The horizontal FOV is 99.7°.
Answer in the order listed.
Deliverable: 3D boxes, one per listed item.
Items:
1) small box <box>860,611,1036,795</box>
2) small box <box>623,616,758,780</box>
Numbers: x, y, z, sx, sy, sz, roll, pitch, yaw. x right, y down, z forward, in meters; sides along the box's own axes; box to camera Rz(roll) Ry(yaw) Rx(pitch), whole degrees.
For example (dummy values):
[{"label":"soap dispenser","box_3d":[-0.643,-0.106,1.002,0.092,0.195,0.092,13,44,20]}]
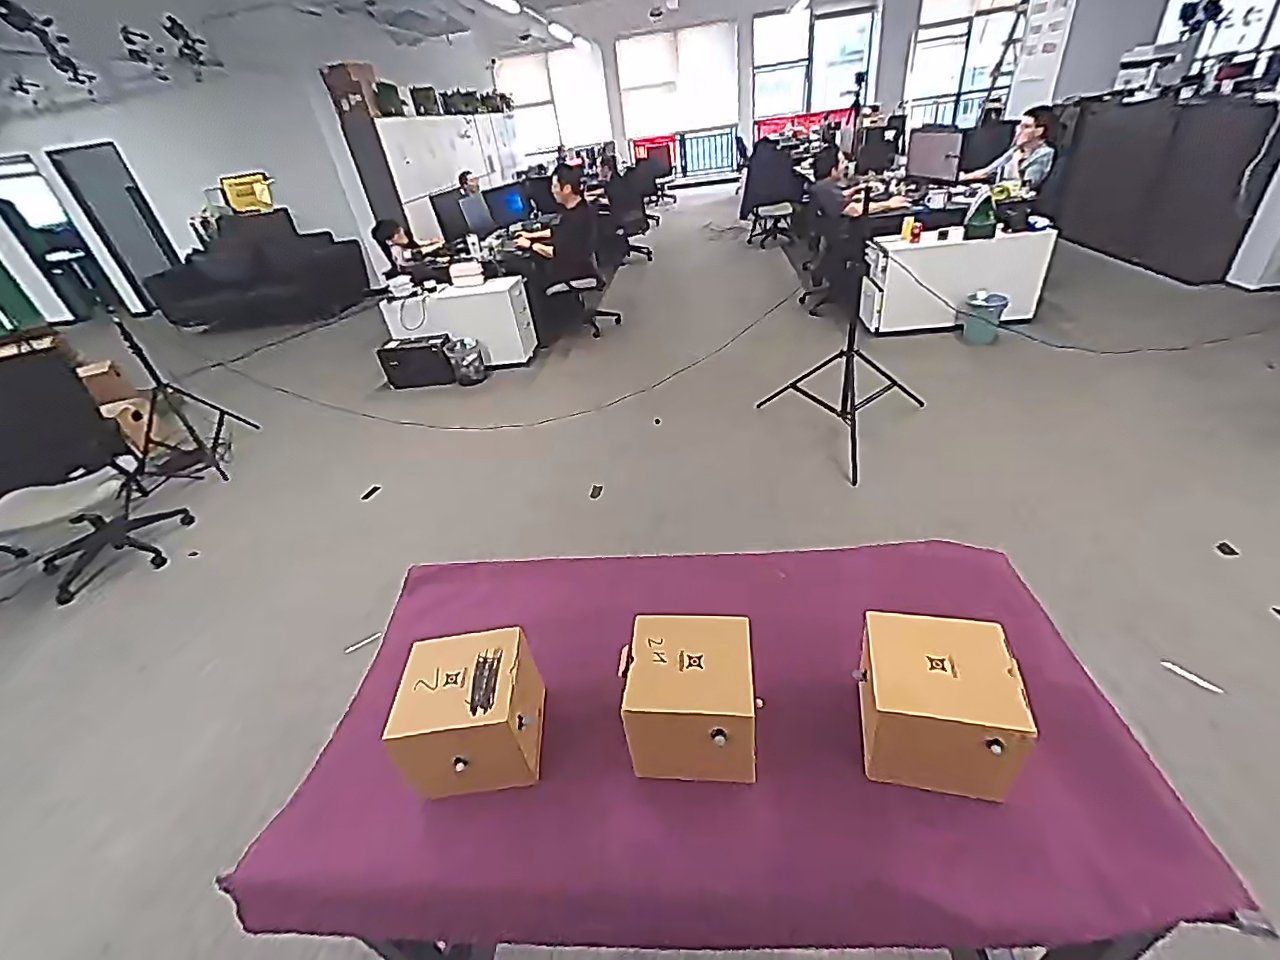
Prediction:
[{"label":"small box","box_3d":[0.408,0.307,0.755,0.179,0.176,0.168,2,35,16]},{"label":"small box","box_3d":[0.082,0.324,0.807,0.179,0.176,0.168,-3,33,10]}]
